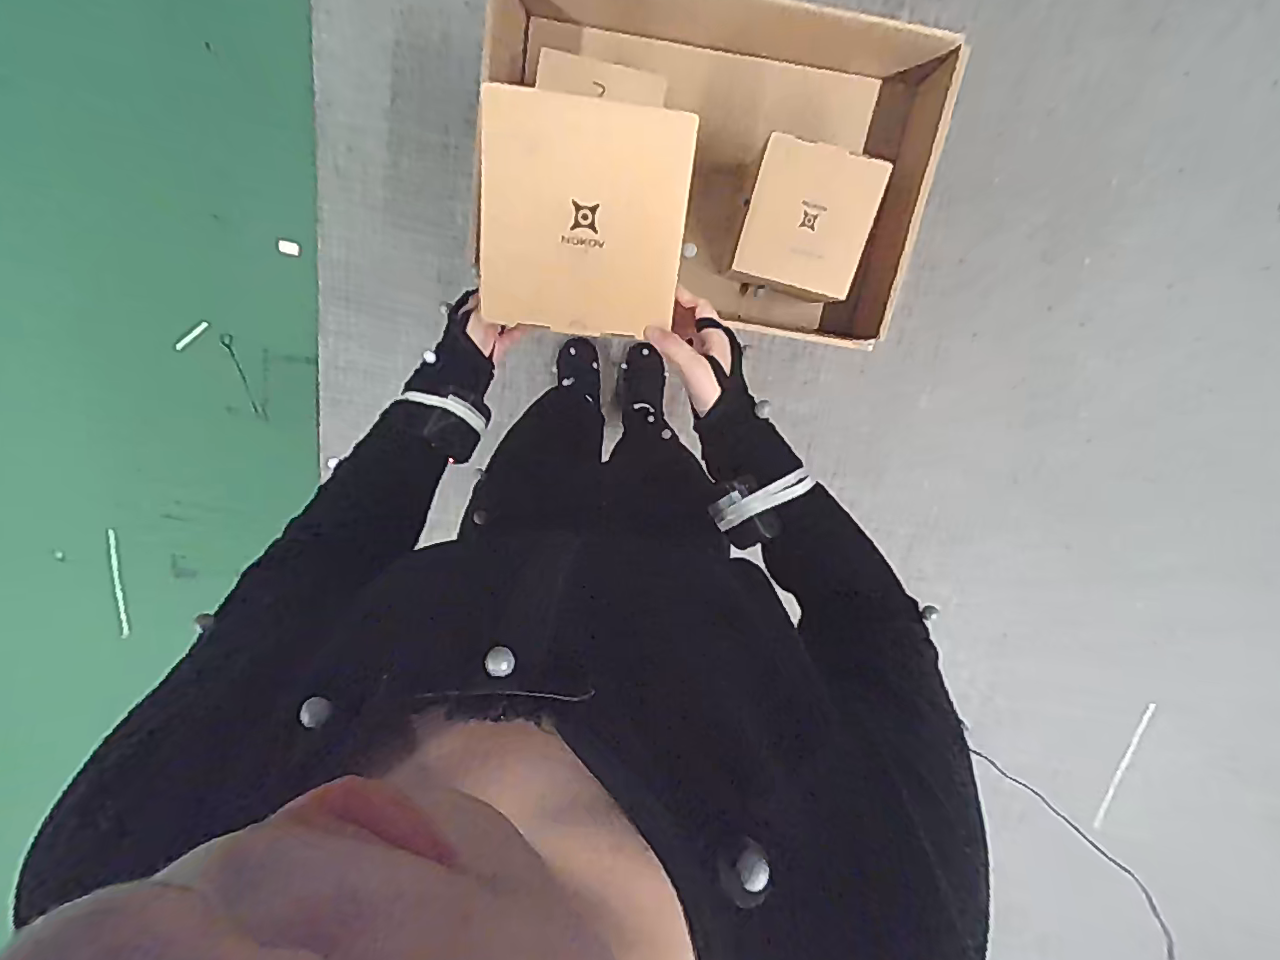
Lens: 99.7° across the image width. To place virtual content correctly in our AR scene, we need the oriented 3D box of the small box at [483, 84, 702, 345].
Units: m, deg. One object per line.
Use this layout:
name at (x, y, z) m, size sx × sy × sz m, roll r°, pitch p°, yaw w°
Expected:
small box at (-0.048, -0.238, 0.517) m, size 0.168 × 0.176 × 0.179 m, roll 6°, pitch 111°, yaw -5°
